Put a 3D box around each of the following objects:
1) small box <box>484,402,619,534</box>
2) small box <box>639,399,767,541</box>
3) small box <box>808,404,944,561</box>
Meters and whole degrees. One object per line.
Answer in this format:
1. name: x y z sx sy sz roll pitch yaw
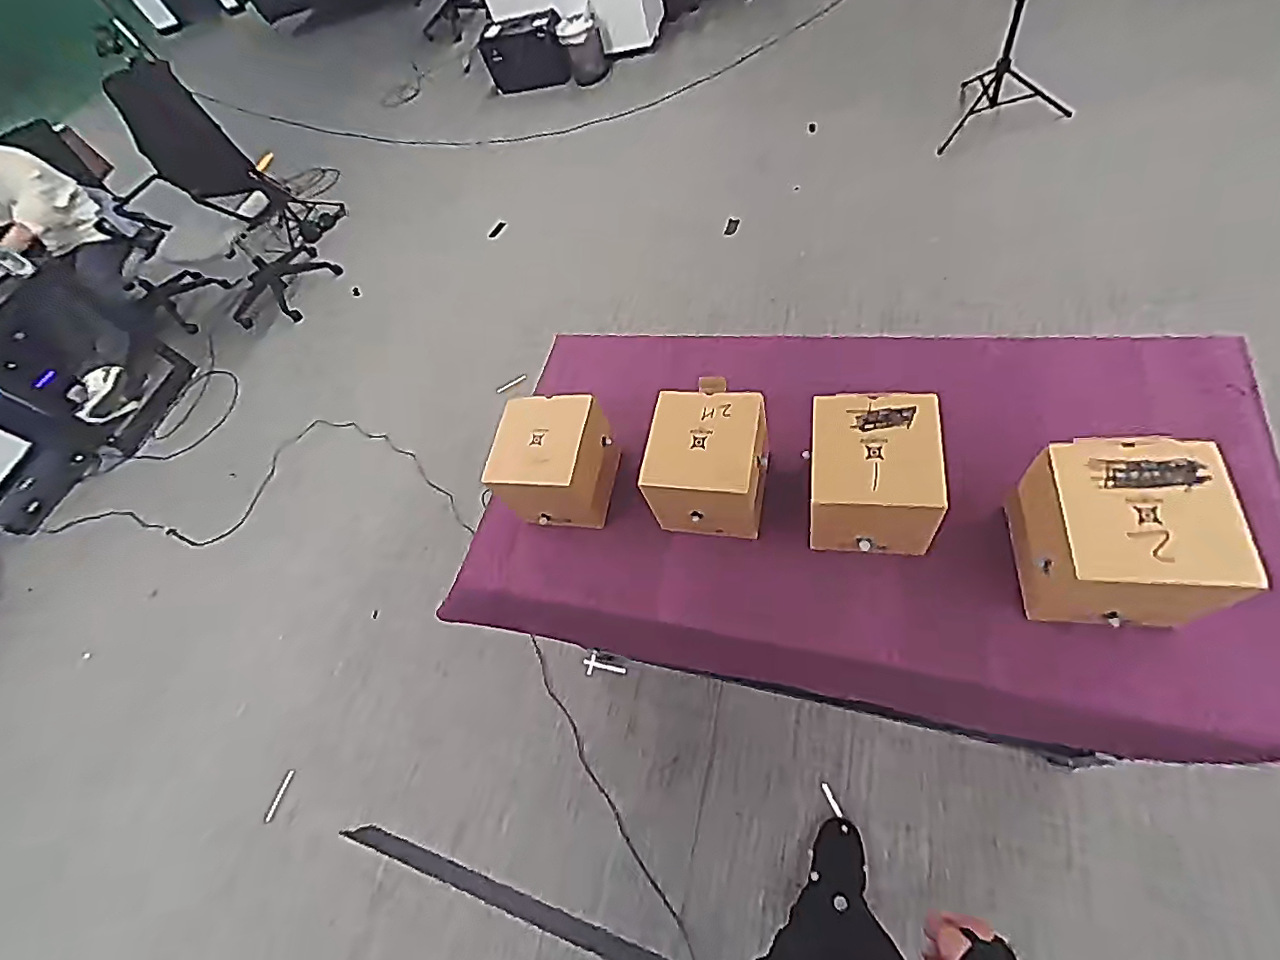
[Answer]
1. small box: -0.147 -0.022 0.976 0.168 0.176 0.179 3 61 19
2. small box: 0.114 -0.014 0.890 0.168 0.176 0.179 5 62 20
3. small box: 0.341 0.005 0.810 0.168 0.176 0.179 1 62 18
